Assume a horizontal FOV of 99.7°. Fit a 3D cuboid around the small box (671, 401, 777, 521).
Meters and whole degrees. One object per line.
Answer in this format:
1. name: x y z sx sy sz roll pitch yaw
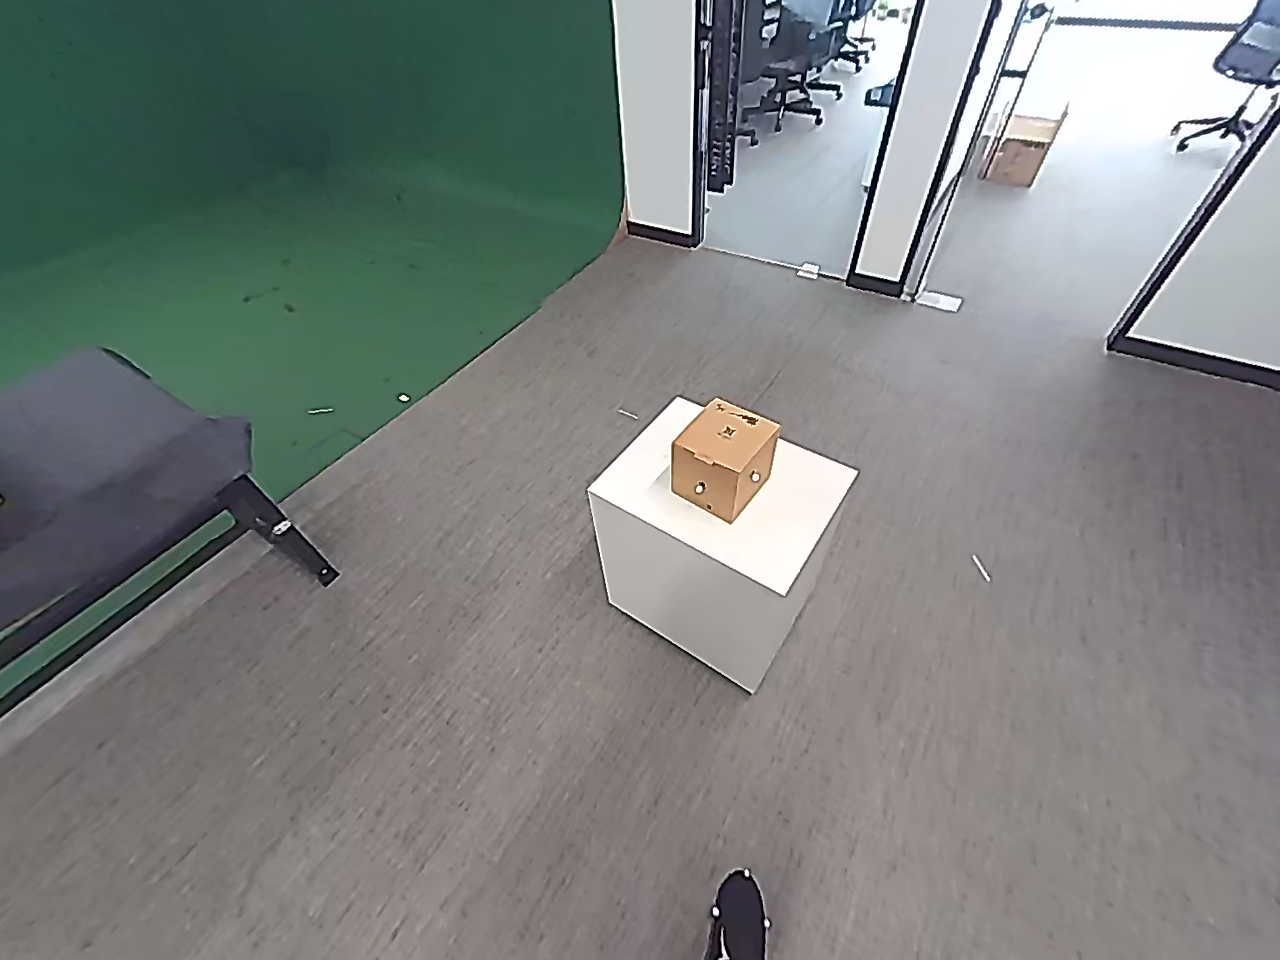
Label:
1. small box: 0.185 -0.040 1.208 0.168 0.176 0.179 27 55 24
